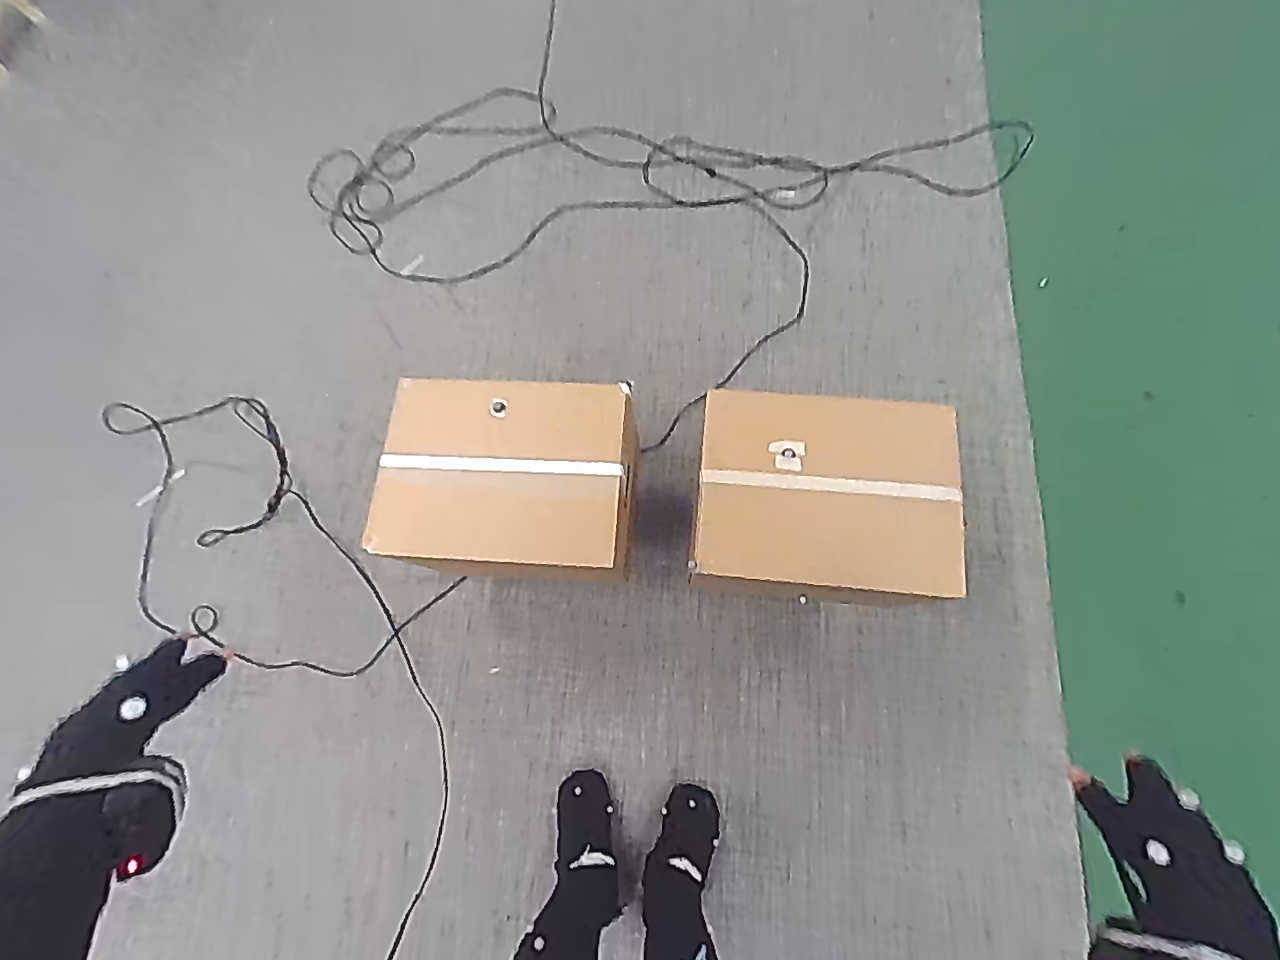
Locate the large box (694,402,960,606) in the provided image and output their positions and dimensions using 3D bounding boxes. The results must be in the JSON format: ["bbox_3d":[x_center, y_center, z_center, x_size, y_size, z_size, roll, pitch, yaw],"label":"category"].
[{"bbox_3d":[0.315,0.063,1.016,0.408,0.320,0.320,5,74,6],"label":"large box"}]
